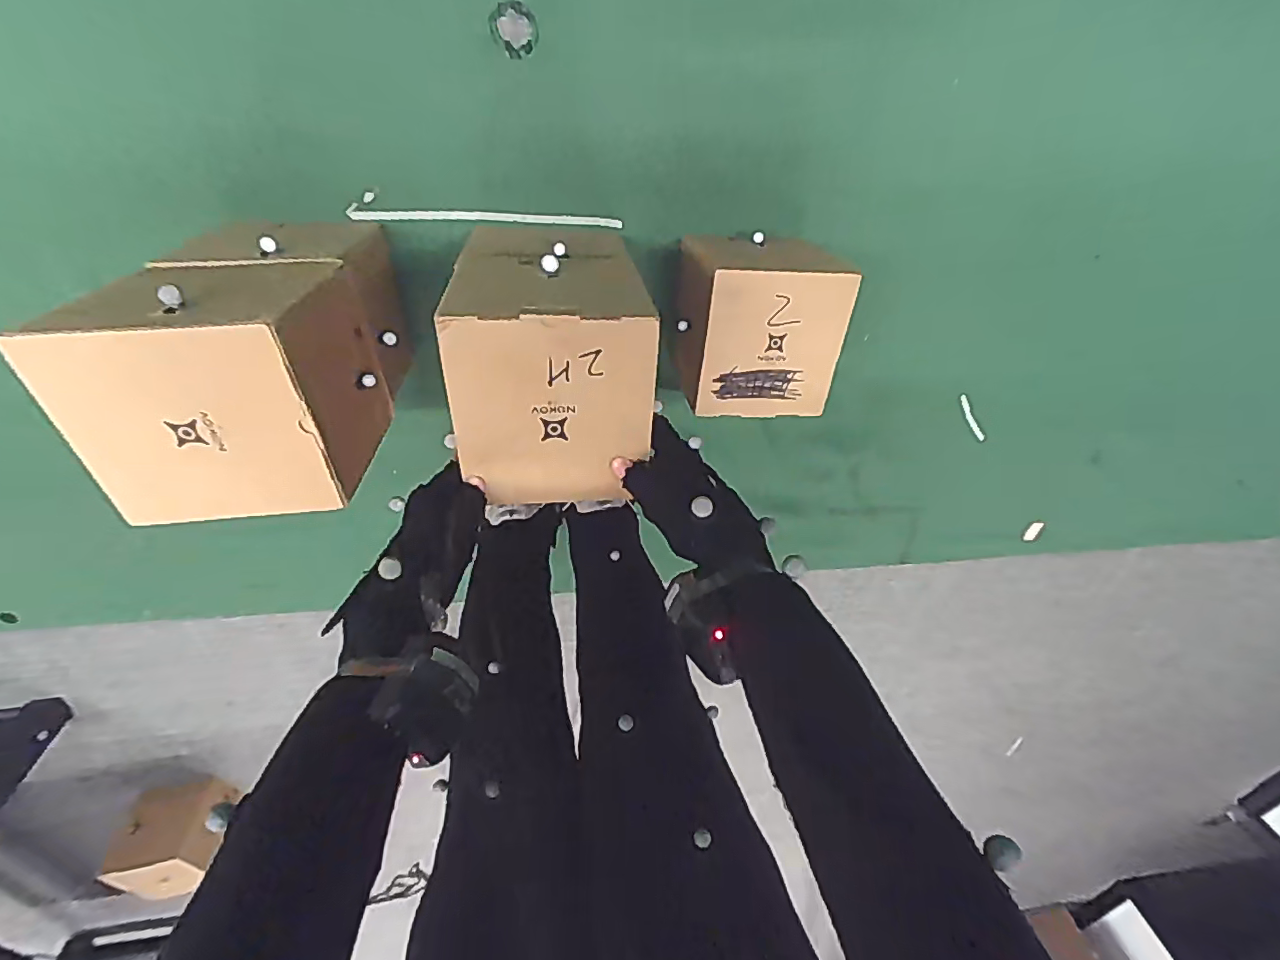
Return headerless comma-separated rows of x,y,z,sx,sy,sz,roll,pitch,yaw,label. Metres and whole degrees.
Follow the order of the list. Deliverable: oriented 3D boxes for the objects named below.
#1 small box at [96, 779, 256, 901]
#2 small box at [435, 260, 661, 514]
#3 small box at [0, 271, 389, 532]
-1.017,0.799,1.205,0.179,0.176,0.168,-12,127,1,small box
-0.080,-0.089,0.503,0.168,0.176,0.179,-2,126,-9,small box
-0.346,-0.075,0.470,0.179,0.176,0.168,-5,126,-6,small box
